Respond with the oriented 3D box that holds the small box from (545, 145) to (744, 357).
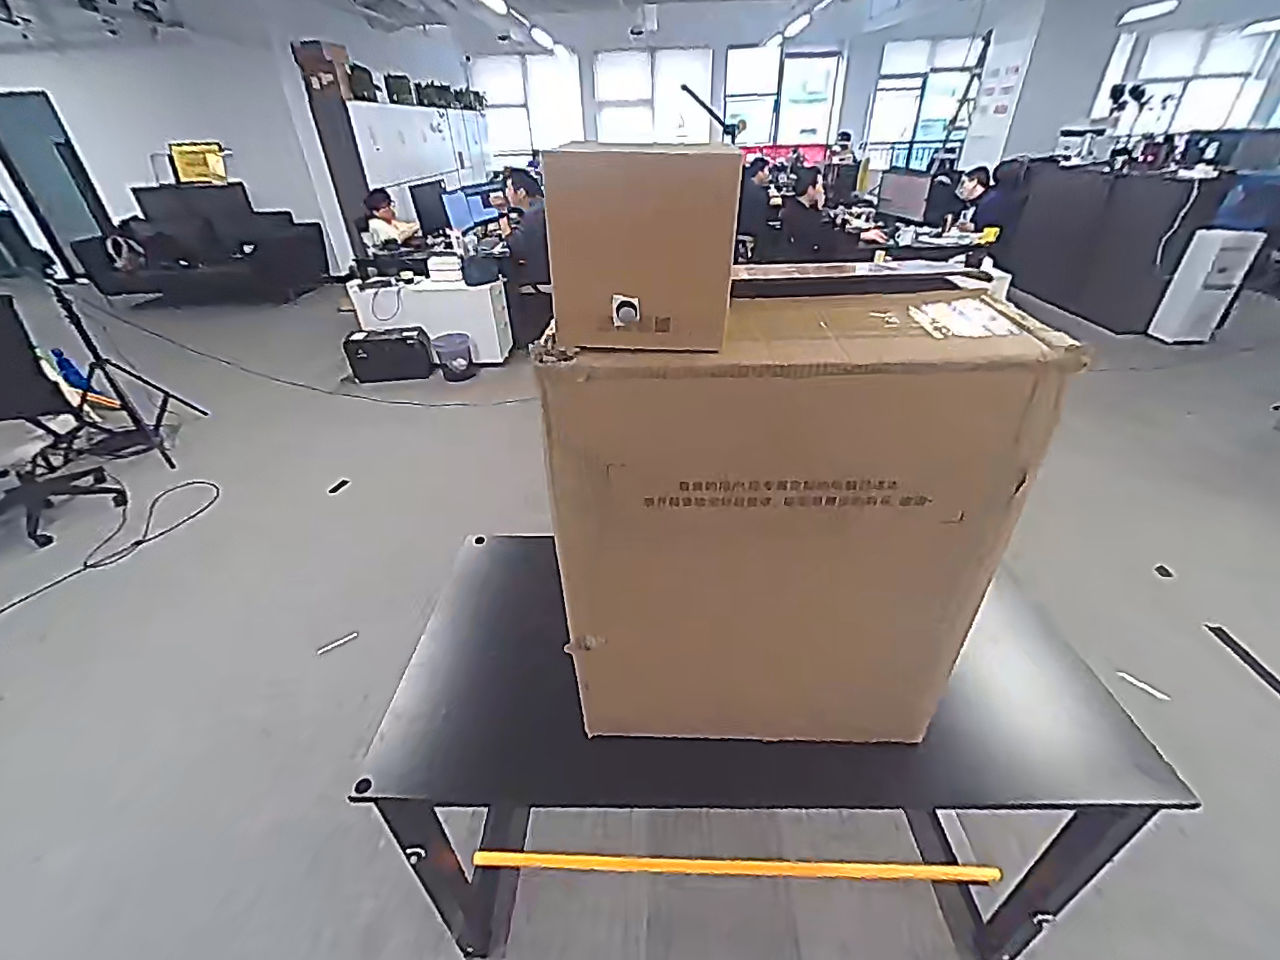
[{"bbox_3d":[0.005,-0.236,0.549,0.168,0.176,0.179,0,35,1],"label":"small box"}]
